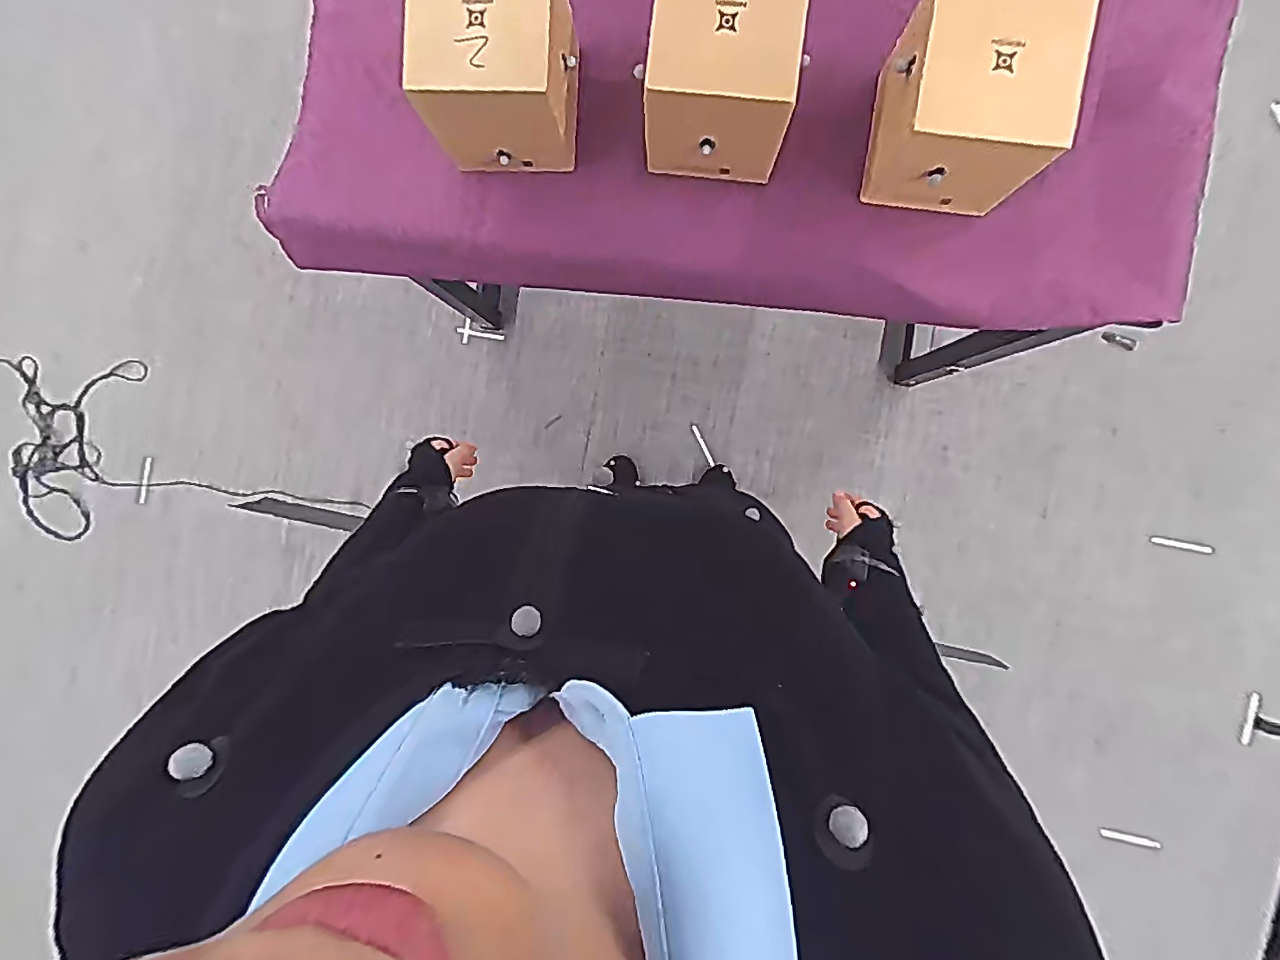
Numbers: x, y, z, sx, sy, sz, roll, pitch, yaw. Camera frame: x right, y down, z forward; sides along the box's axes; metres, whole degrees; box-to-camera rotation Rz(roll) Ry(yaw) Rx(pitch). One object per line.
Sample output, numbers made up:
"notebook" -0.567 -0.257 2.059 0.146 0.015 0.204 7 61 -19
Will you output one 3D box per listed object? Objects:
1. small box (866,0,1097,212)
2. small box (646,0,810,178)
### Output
"small box" 0.388 -0.449 0.648 0.168 0.176 0.179 9 92 3
"small box" 0.102 -0.502 0.661 0.168 0.176 0.179 8 91 2
